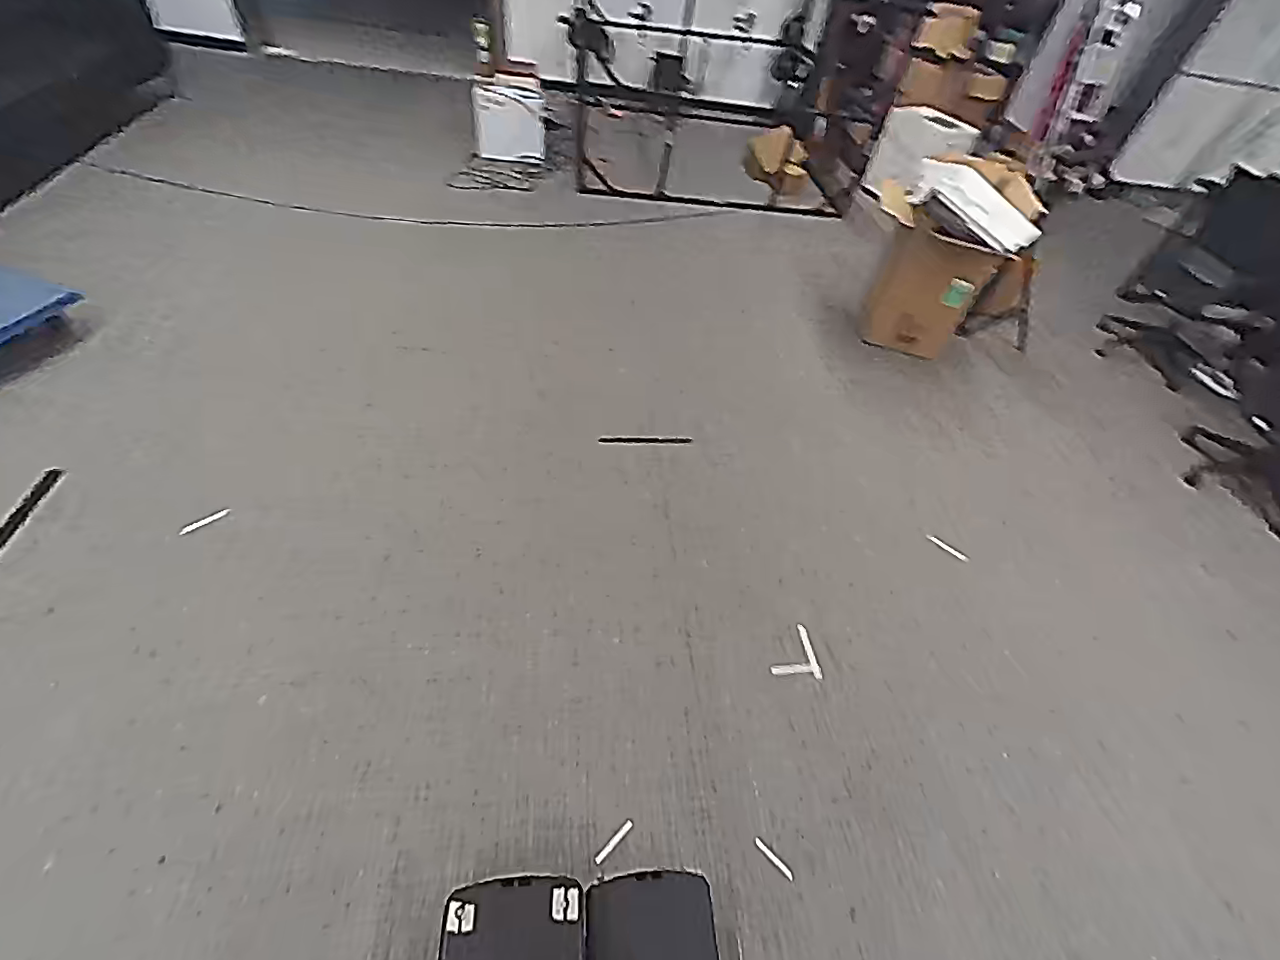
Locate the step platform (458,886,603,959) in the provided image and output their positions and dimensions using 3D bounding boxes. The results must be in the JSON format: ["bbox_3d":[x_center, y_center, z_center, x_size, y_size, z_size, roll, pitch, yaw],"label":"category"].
[{"bbox_3d":[-0.215,1.127,0.933,0.286,0.204,0.684,4,46,-6],"label":"step platform"}]
